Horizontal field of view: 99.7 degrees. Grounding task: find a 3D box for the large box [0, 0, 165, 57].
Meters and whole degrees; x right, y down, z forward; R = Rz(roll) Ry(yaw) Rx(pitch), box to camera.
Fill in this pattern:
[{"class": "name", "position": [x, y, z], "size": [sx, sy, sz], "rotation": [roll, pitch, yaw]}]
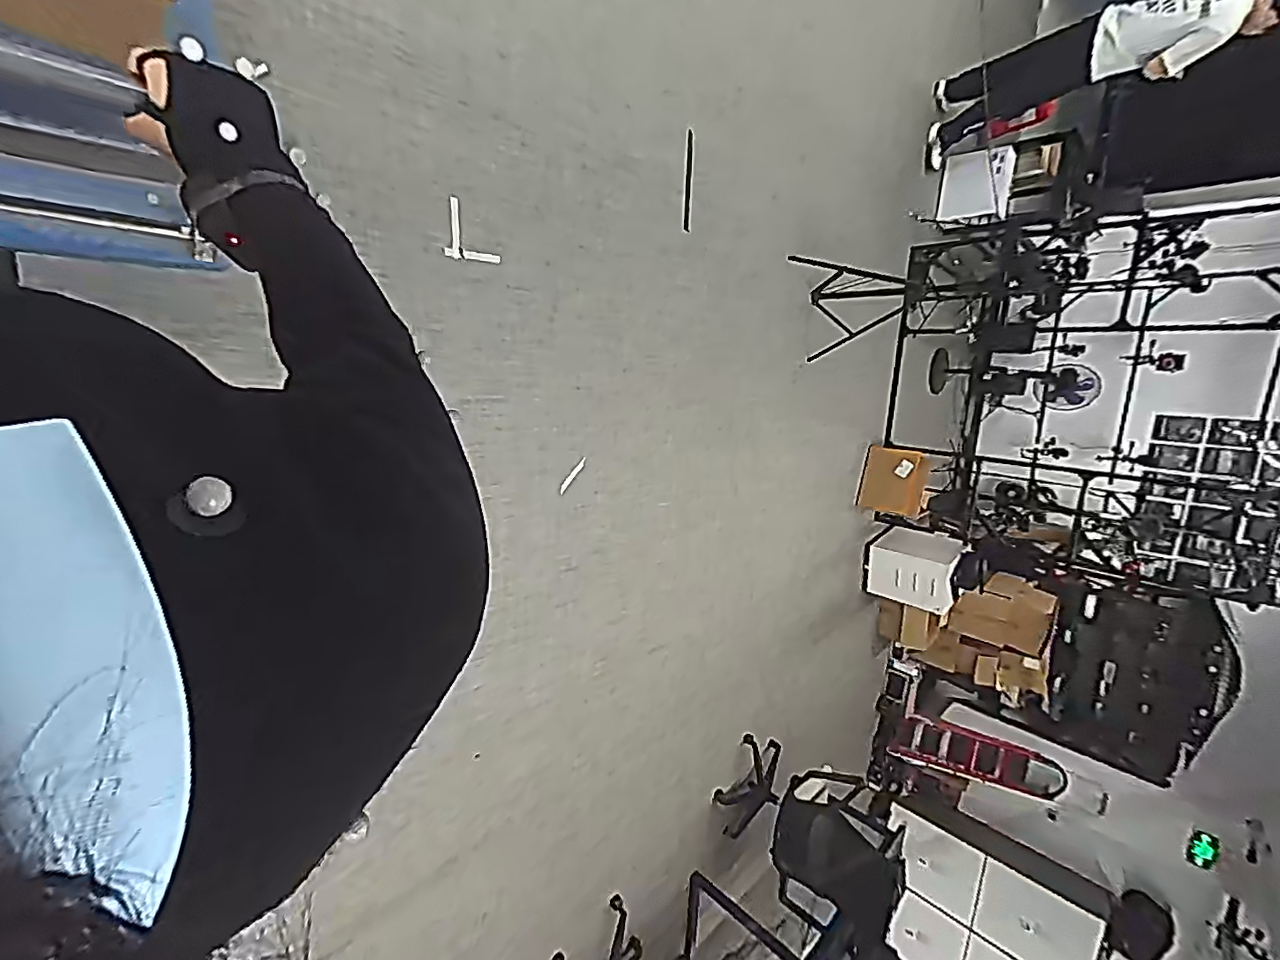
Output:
[{"class": "large box", "position": [-0.865, -0.816, 0.655], "size": [0.408, 0.320, 0.320], "rotation": [-7, 104, -45]}]
